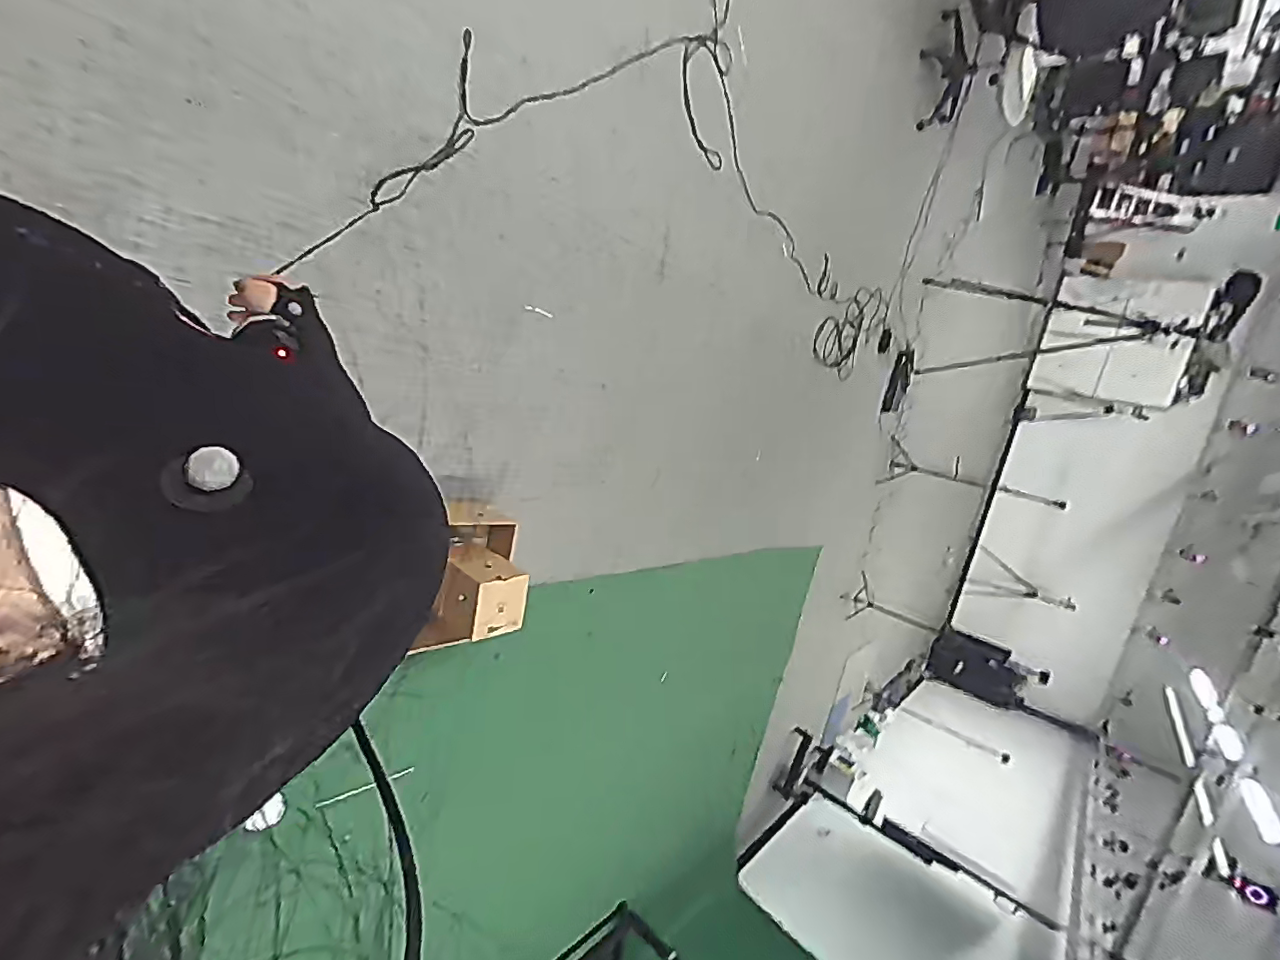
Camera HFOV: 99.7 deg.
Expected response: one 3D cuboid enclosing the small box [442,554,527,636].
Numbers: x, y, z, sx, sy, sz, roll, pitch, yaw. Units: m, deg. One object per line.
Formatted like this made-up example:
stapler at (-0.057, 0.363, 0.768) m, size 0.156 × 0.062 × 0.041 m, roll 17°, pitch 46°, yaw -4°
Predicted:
small box at (-0.452, 0.320, 1.559) m, size 0.168 × 0.176 × 0.179 m, roll -2°, pitch 106°, yaw -49°
